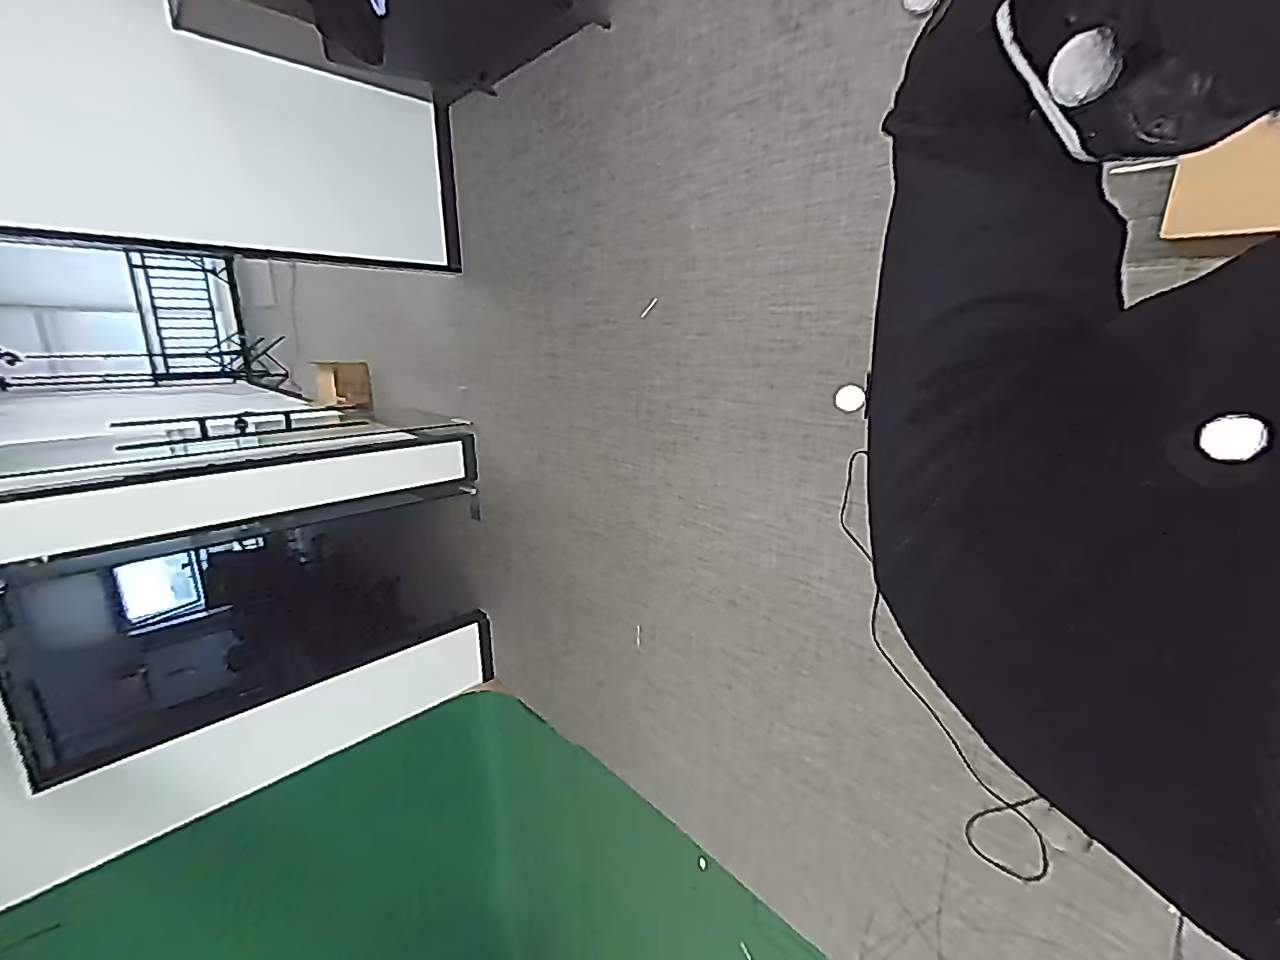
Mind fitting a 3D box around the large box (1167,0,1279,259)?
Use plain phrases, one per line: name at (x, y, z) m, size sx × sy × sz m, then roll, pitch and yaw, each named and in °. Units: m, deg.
large box at (1.063, -0.512, 0.767) m, size 0.408 × 0.320 × 0.320 m, roll 17°, pitch 112°, yaw 44°
